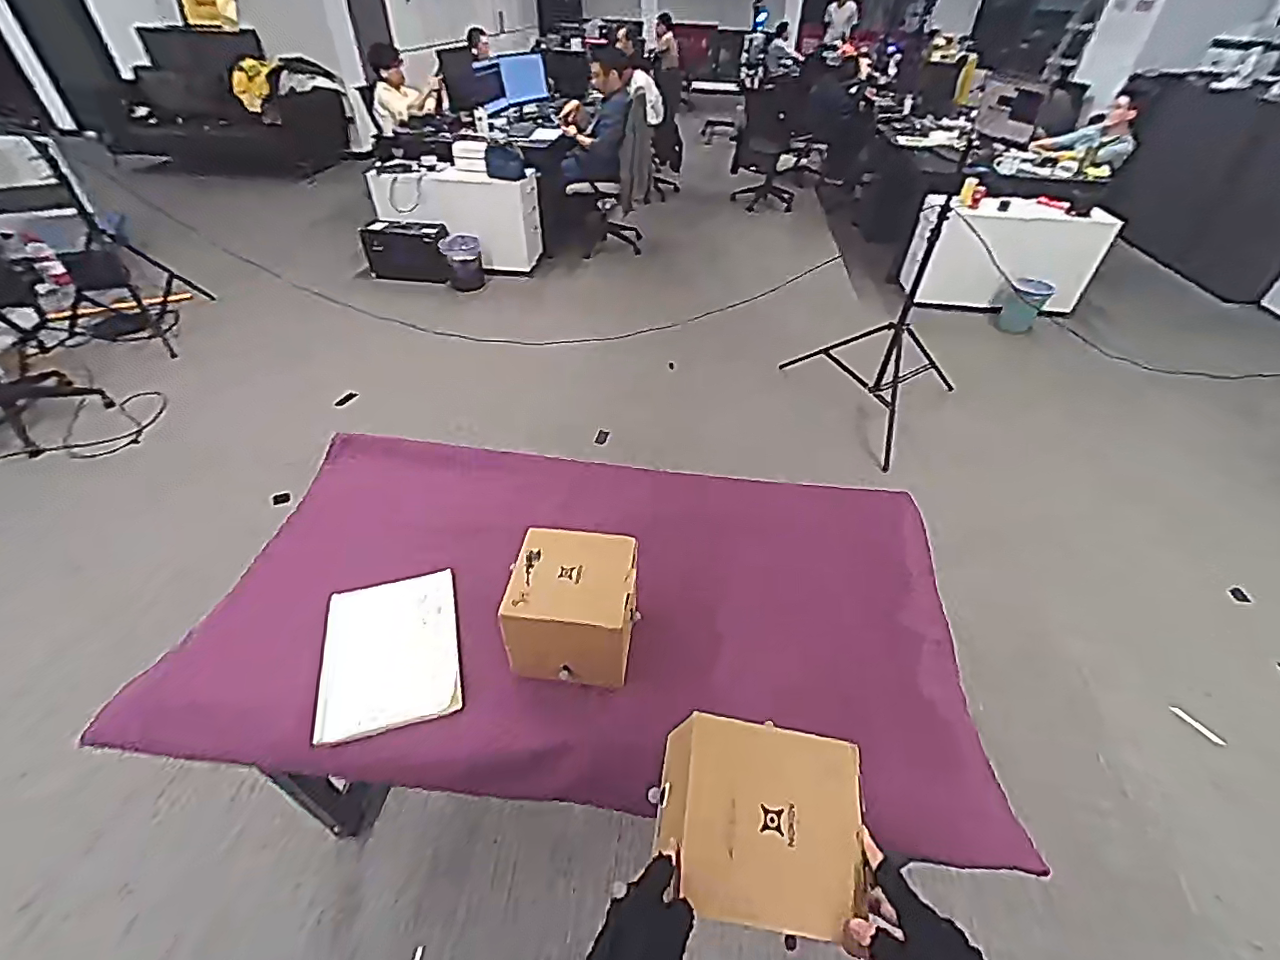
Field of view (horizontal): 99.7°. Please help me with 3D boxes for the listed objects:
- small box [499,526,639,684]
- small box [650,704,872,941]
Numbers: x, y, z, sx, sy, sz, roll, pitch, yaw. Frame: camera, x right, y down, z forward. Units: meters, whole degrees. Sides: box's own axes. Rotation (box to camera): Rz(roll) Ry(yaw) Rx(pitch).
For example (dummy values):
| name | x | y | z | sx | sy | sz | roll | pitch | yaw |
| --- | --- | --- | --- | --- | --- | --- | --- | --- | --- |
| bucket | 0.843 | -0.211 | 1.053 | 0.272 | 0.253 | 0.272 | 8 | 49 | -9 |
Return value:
| name | x | y | z | sx | sy | sz | roll | pitch | yaw |
| --- | --- | --- | --- | --- | --- | --- | --- | --- | --- |
| small box | -0.100 | 0.196 | 0.839 | 0.179 | 0.176 | 0.168 | 6 | 41 | 3 |
| small box | 0.117 | 0.354 | 0.571 | 0.179 | 0.176 | 0.168 | 12 | 55 | -1 |
